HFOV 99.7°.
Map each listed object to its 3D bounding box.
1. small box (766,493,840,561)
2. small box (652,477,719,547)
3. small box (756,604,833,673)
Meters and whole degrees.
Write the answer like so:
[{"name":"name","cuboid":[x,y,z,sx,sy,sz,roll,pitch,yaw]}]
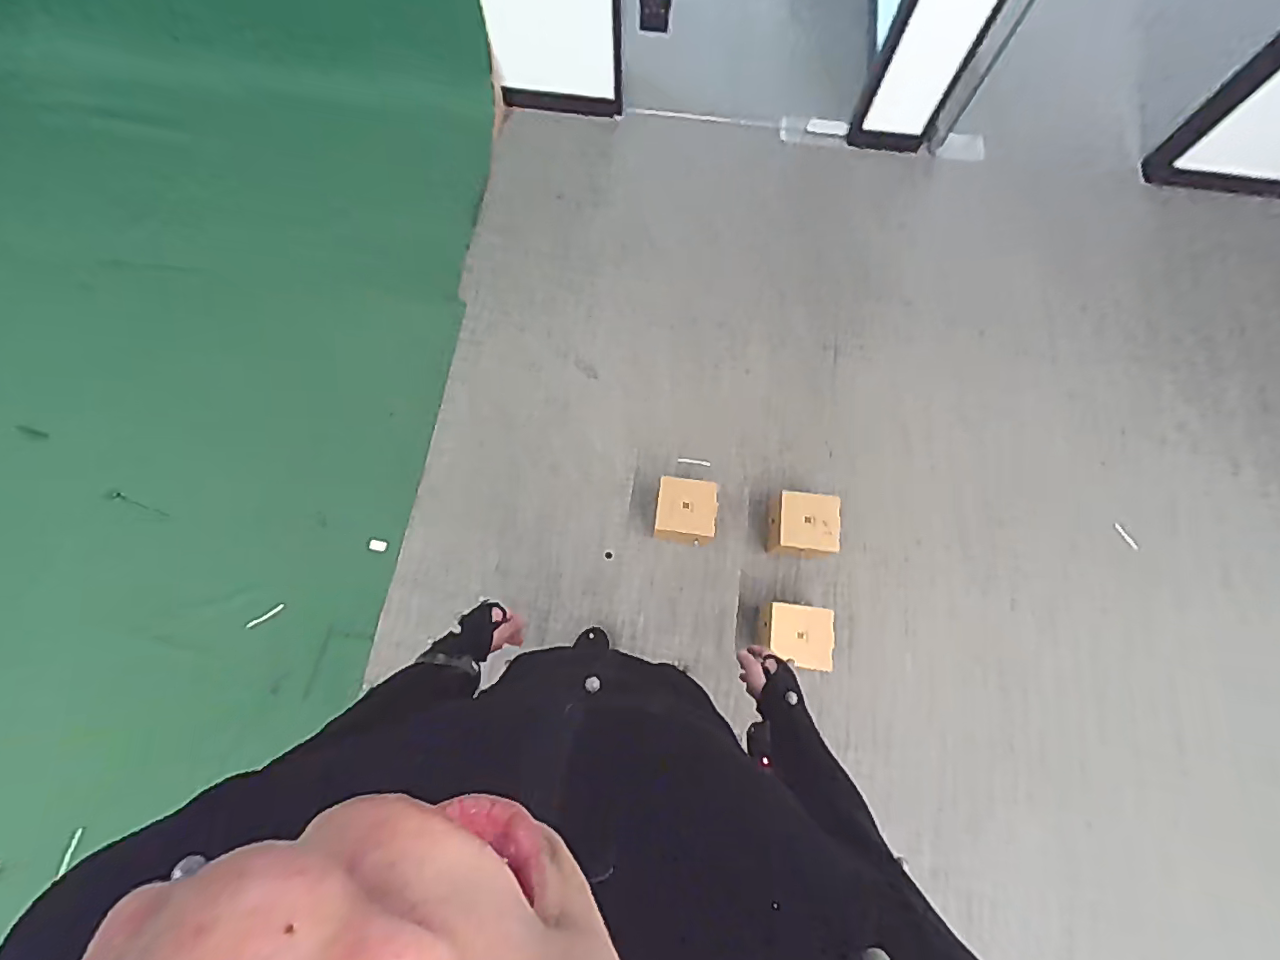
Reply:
[{"name":"small box","cuboid":[0.490,0.147,1.641,0.179,0.176,0.168,8,74,0]},{"name":"small box","cuboid":[0.135,0.103,1.647,0.179,0.176,0.168,8,73,1]},{"name":"small box","cuboid":[0.438,0.456,1.552,0.179,0.176,0.168,8,73,0]}]
